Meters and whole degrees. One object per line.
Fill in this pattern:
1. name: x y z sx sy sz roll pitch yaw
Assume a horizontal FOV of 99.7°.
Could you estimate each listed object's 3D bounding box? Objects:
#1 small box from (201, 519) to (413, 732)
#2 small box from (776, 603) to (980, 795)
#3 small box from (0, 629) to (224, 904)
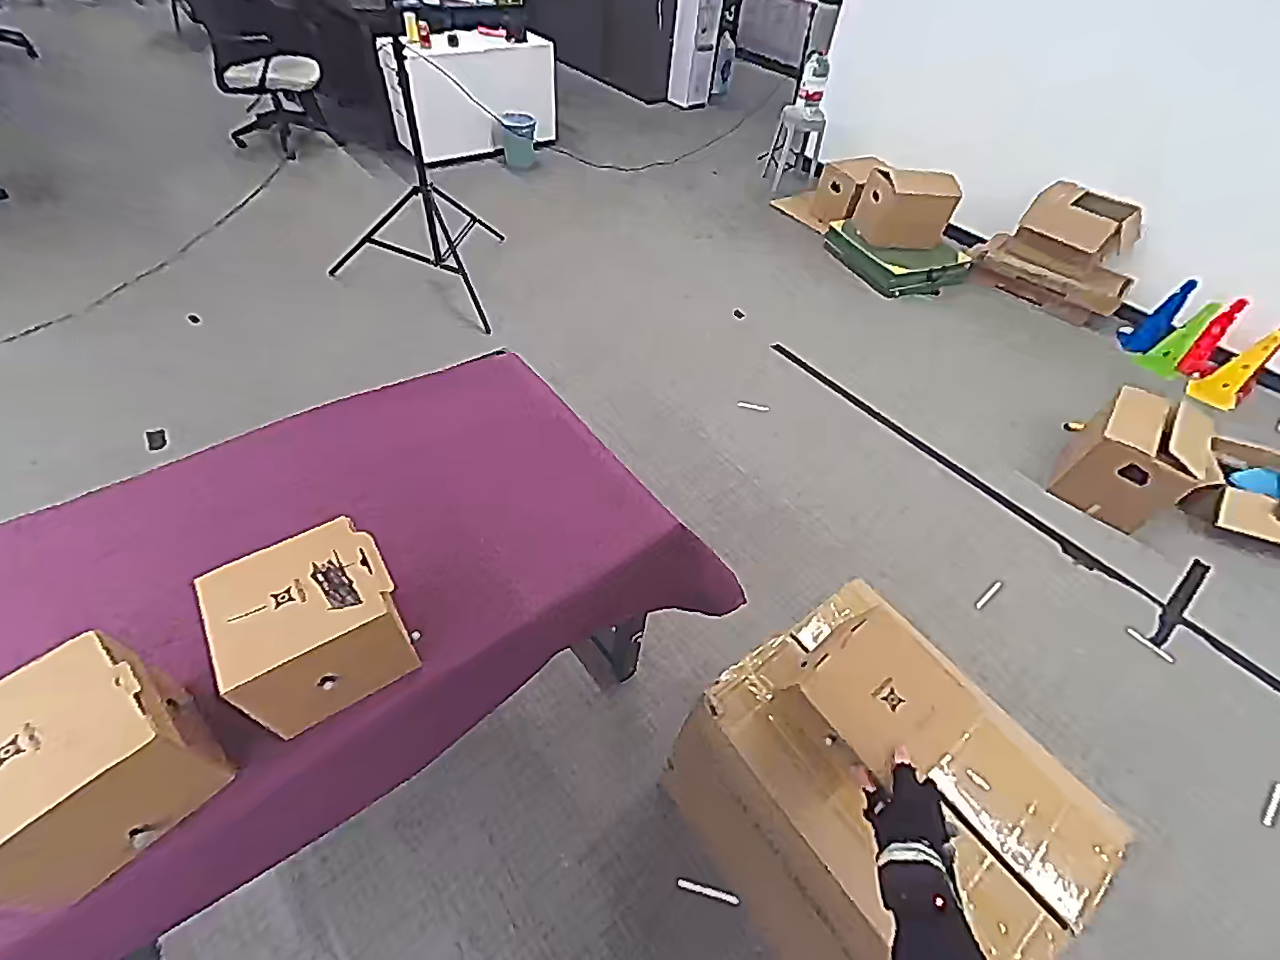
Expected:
1. small box: -0.412 0.187 0.697 0.179 0.176 0.168 -26 56 -25
2. small box: 0.318 0.307 0.765 0.168 0.176 0.179 -38 70 -14
3. small box: -0.591 0.303 0.576 0.168 0.176 0.179 35 53 23
